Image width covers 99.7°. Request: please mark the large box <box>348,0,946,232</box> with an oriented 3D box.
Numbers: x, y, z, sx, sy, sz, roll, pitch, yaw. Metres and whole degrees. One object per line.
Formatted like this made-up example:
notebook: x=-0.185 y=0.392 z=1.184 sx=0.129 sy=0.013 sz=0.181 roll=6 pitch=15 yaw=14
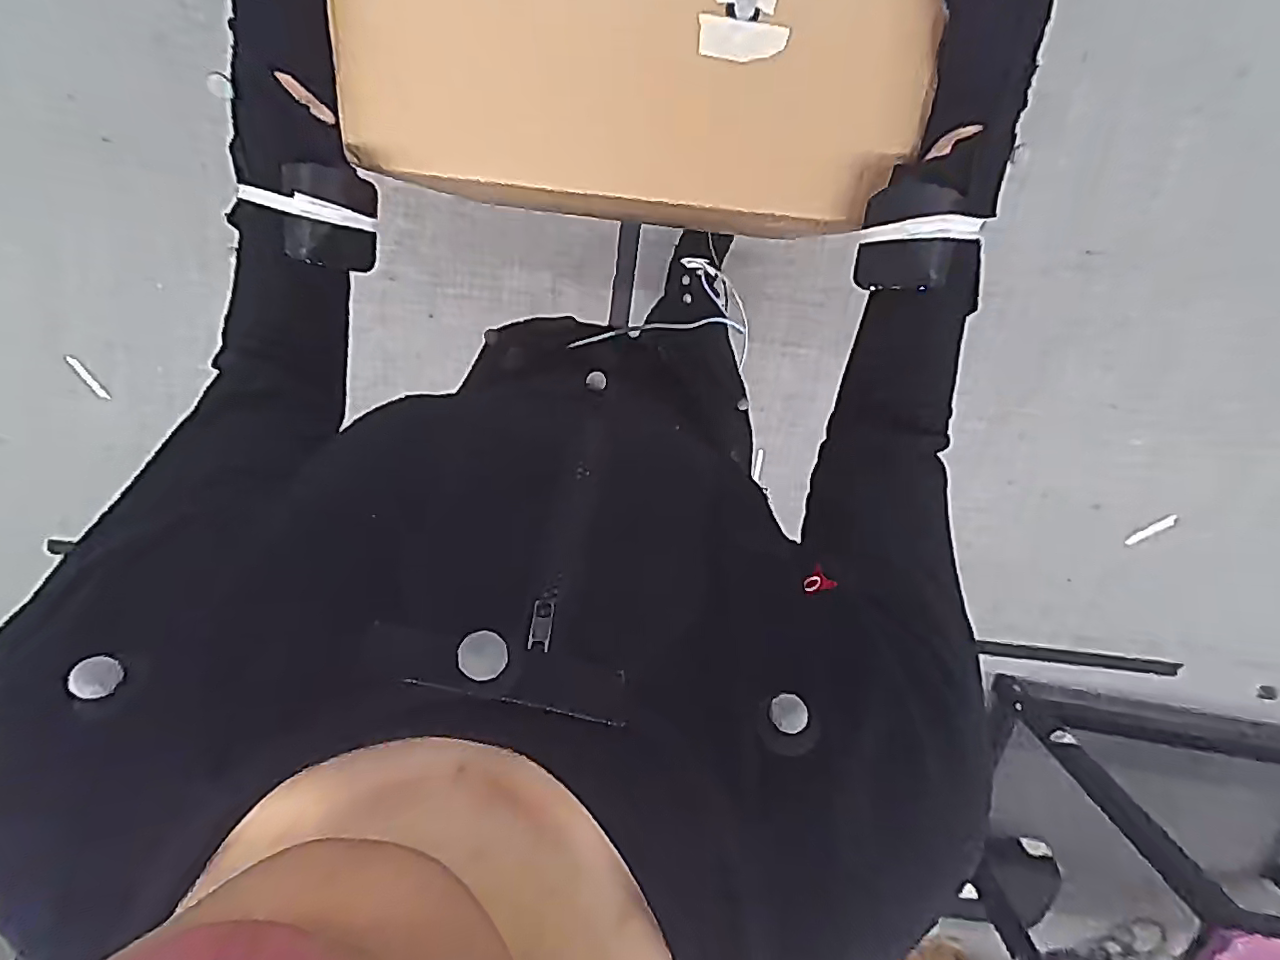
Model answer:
large box: x=0.007 y=-0.411 z=0.481 sx=0.408 sy=0.320 sz=0.320 roll=5 pitch=114 yaw=-3
